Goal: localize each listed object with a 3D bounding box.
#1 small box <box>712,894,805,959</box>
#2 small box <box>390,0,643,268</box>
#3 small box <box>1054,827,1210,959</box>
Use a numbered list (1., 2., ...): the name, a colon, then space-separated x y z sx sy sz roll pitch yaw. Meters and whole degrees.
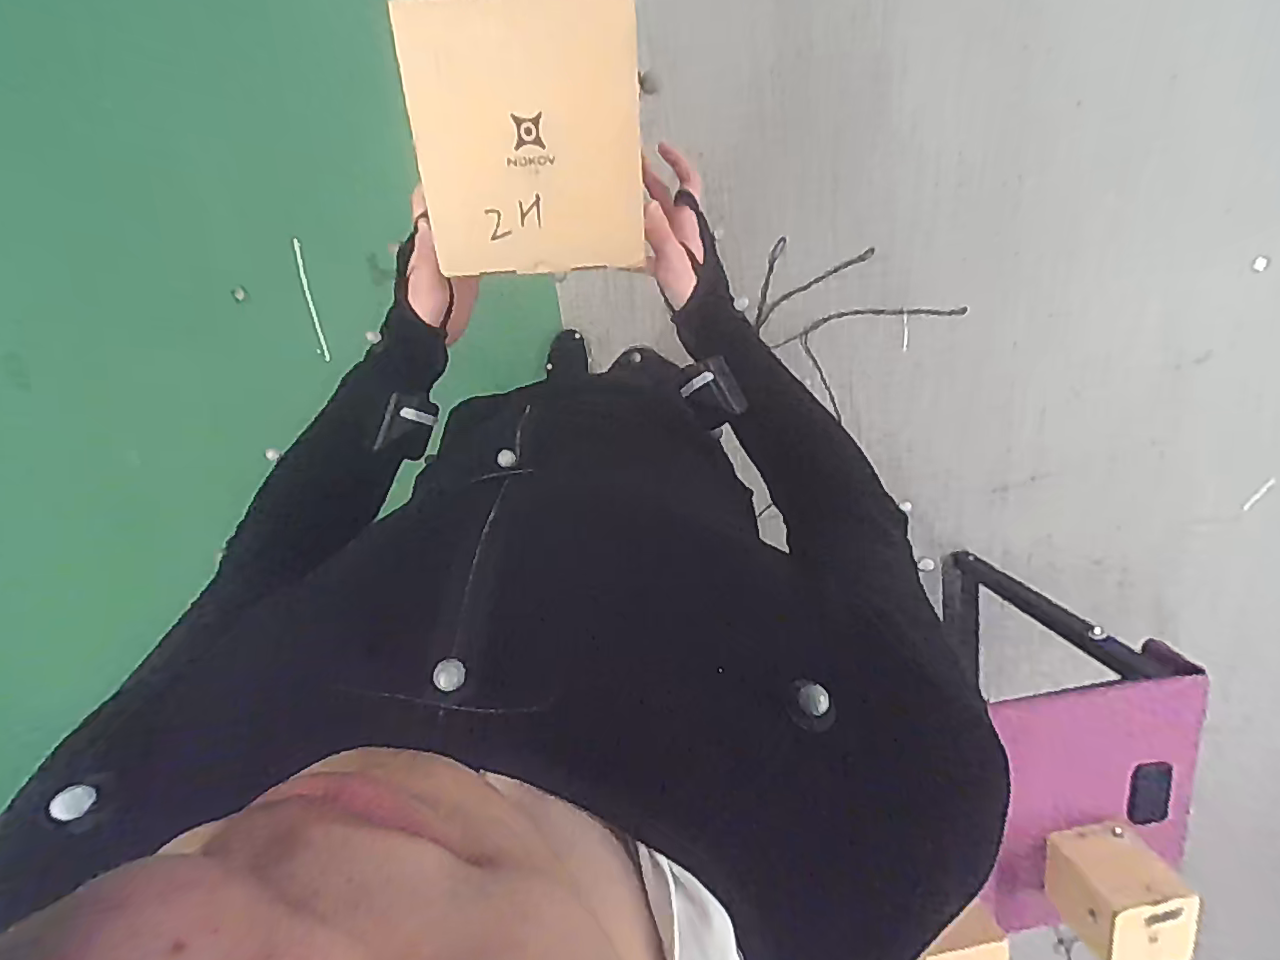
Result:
1. small box: 0.248 0.997 1.102 0.168 0.176 0.179 -9 106 -2
2. small box: -0.083 -0.280 0.462 0.168 0.176 0.179 -2 115 1
3. small box: 0.986 0.841 1.099 0.168 0.176 0.179 -10 106 0
